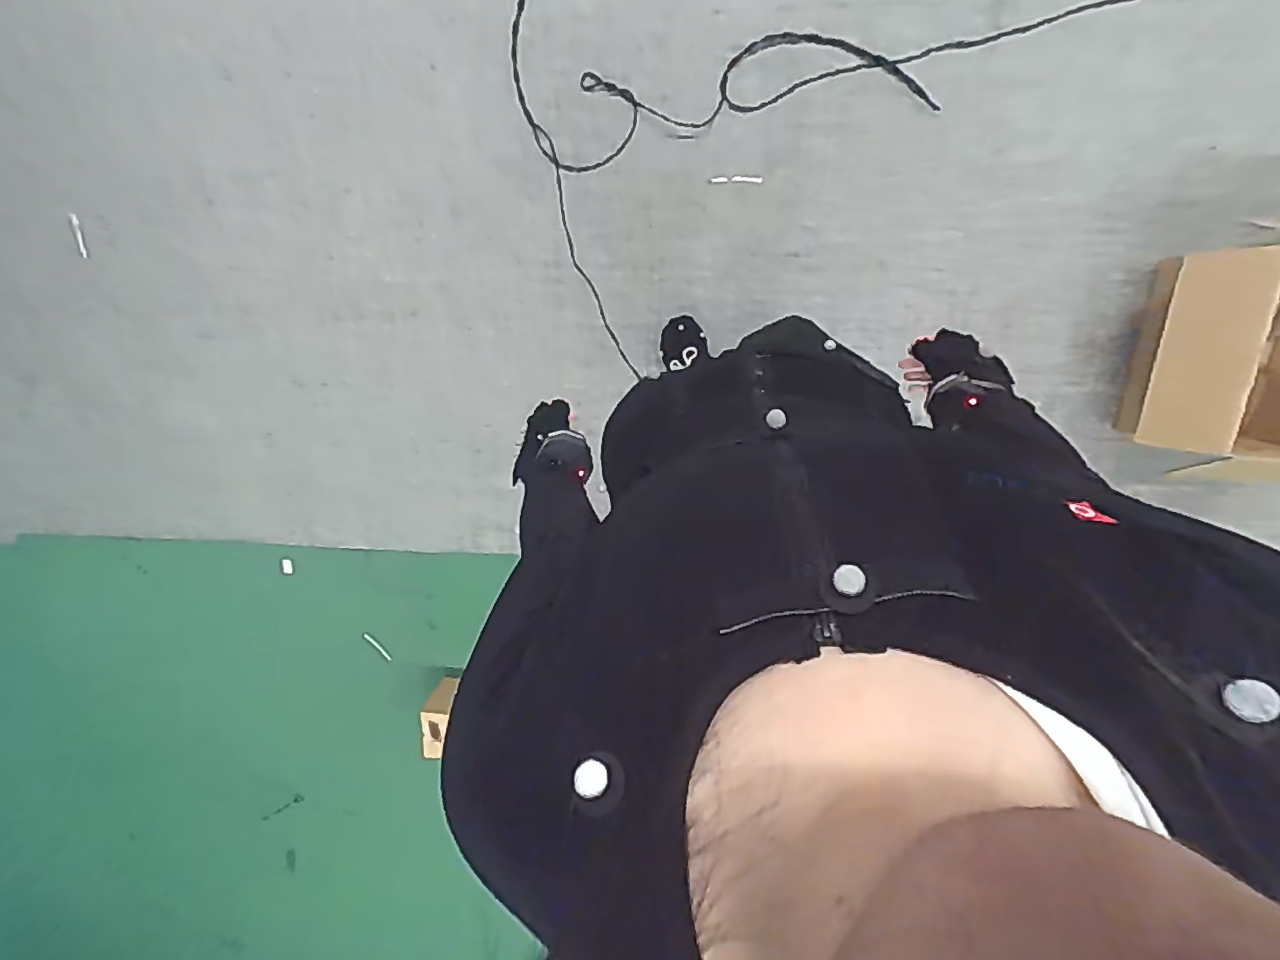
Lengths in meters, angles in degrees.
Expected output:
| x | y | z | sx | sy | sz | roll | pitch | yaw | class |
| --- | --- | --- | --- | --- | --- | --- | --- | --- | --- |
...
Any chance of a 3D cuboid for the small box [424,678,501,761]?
| x | y | z | sx | sy | sz | roll | pitch | yaw | class |
| --- | --- | --- | --- | --- | --- | --- | --- | --- | --- |
| -0.548 | 0.739 | 1.687 | 0.179 | 0.176 | 0.168 | 3 | 107 | 4 | small box |
